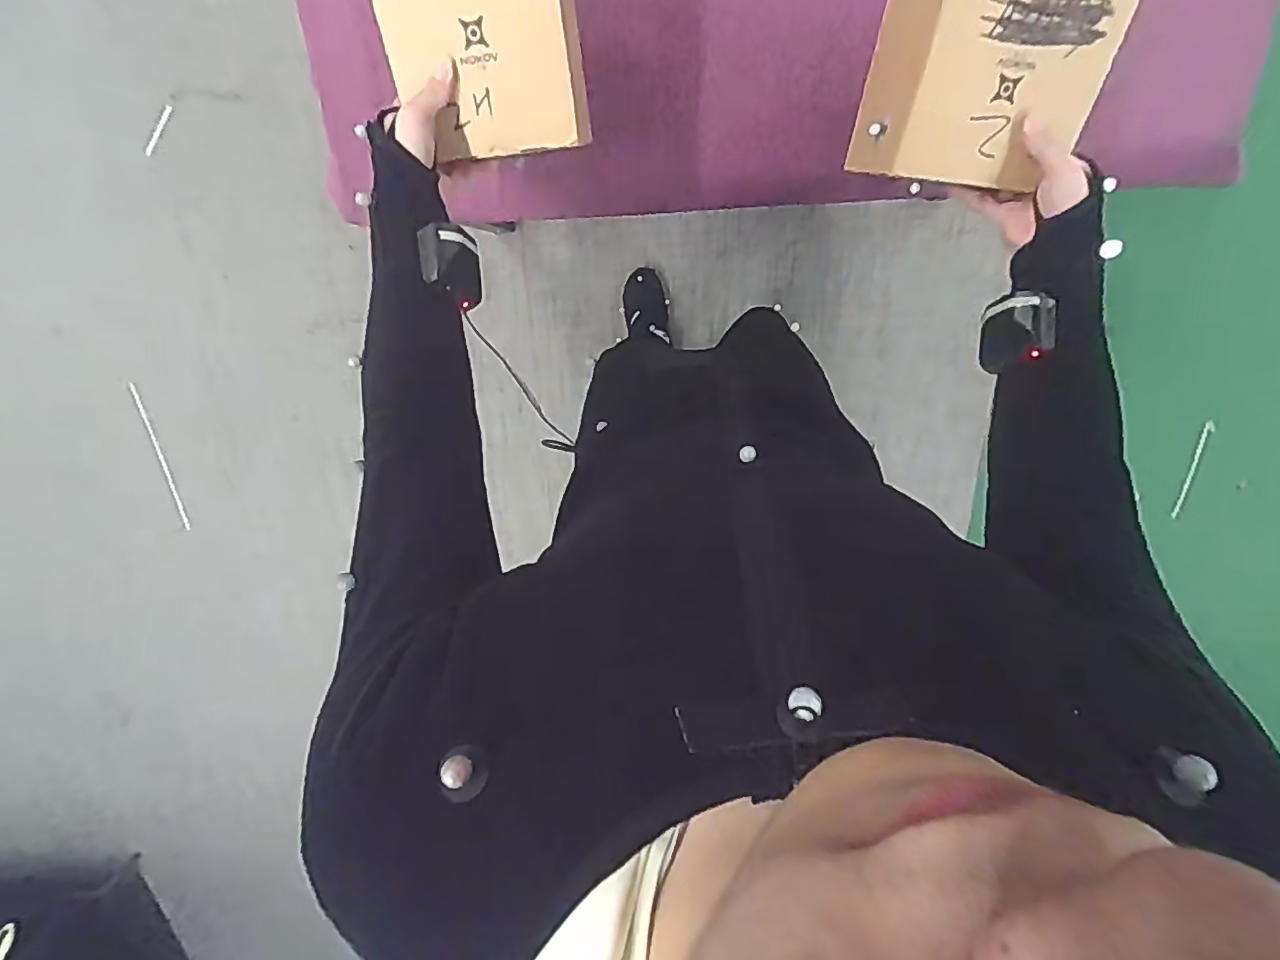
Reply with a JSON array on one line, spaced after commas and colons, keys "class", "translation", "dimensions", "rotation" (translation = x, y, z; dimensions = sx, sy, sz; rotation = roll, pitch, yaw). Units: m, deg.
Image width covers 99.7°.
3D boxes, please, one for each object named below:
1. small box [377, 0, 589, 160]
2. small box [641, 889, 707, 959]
[{"class": "small box", "translation": [-0.149, -0.442, 0.562], "dimensions": [0.168, 0.176, 0.179], "rotation": [-4, 123, 4]}, {"class": "small box", "translation": [0.091, 1.315, 1.546], "dimensions": [0.168, 0.176, 0.179], "rotation": [6, 112, 0]}]
